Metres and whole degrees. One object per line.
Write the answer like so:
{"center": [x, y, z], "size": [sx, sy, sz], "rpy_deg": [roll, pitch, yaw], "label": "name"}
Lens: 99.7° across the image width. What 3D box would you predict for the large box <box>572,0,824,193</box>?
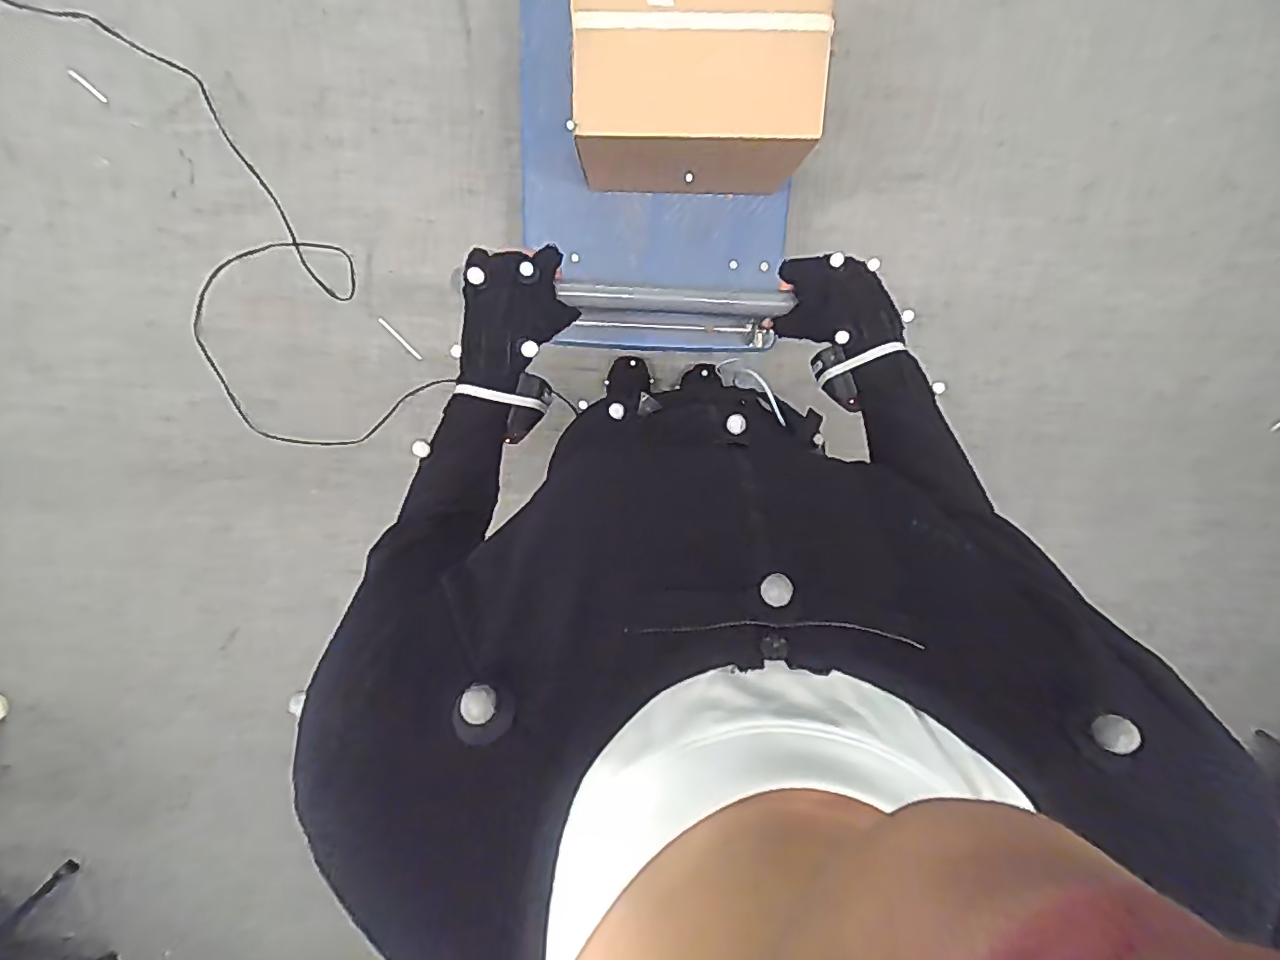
{"center": [0.094, -0.739, 1.001], "size": [0.408, 0.320, 0.320], "rpy_deg": [1, 102, 1], "label": "large box"}
